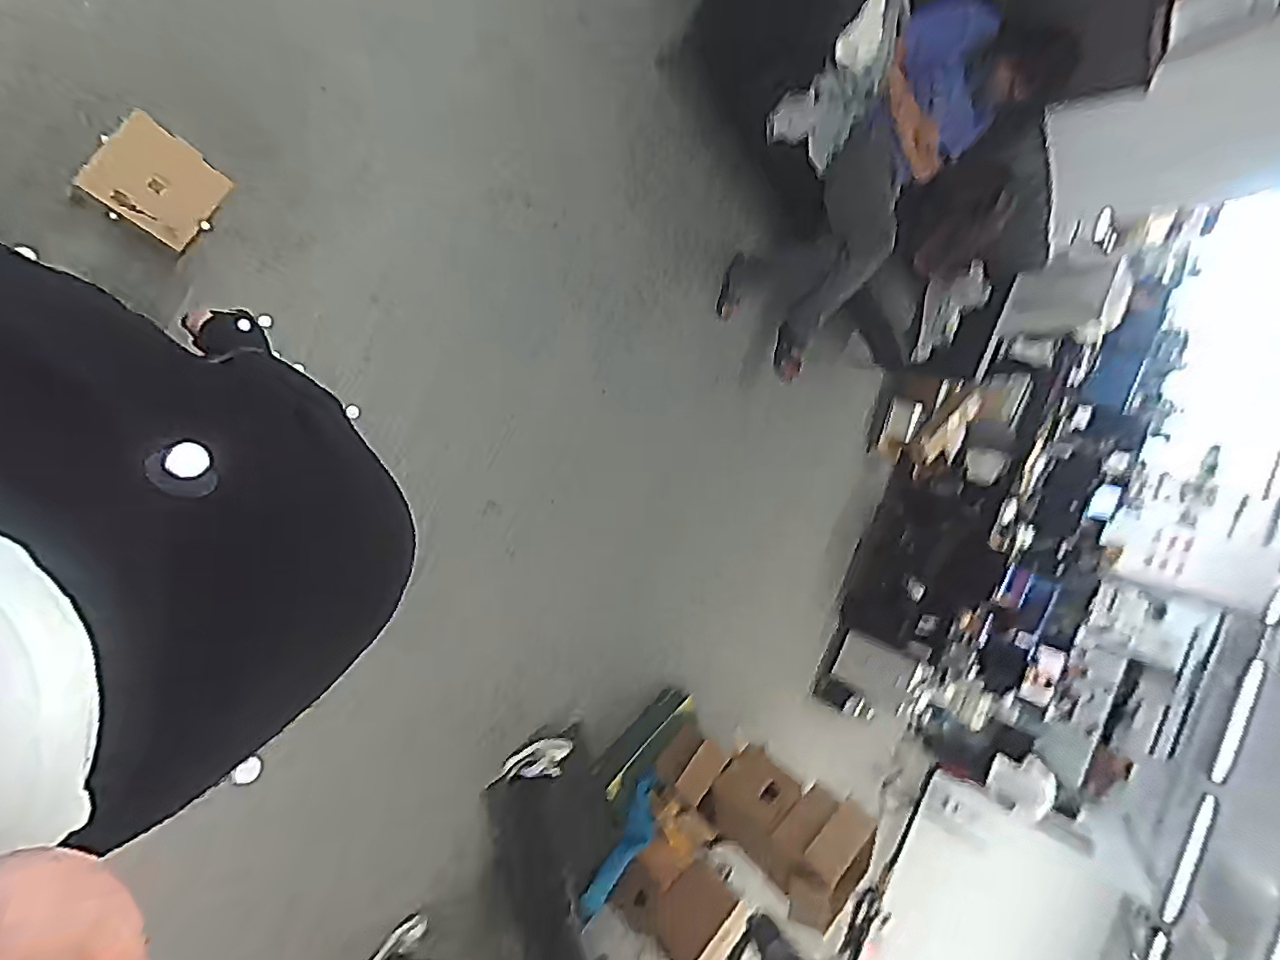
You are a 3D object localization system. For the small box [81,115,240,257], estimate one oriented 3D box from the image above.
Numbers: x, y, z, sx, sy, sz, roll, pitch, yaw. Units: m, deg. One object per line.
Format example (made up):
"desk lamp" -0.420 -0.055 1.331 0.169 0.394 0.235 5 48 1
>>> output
"small box" -0.932 -0.558 1.048 0.168 0.176 0.179 41 74 -46
